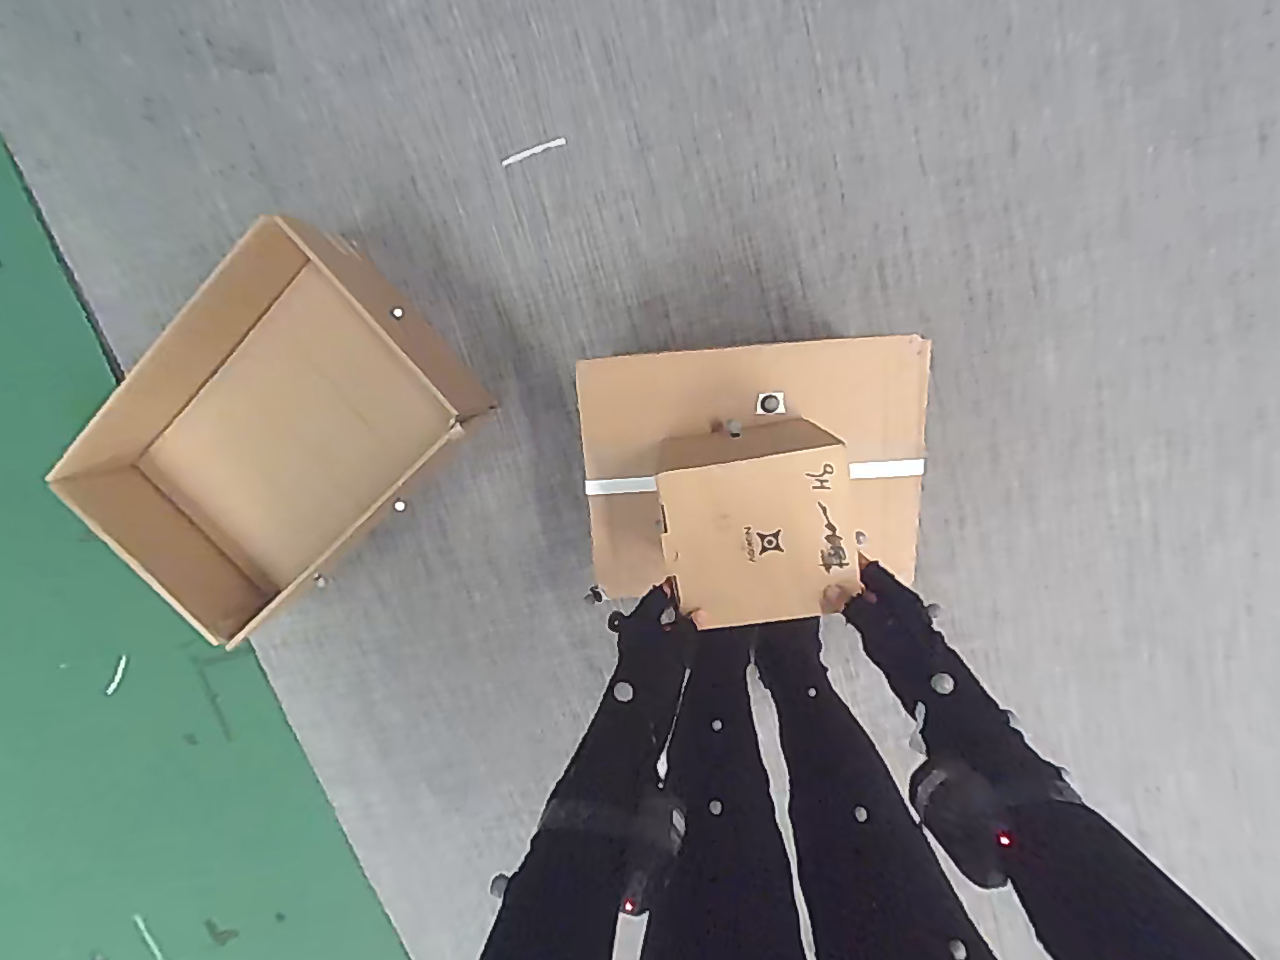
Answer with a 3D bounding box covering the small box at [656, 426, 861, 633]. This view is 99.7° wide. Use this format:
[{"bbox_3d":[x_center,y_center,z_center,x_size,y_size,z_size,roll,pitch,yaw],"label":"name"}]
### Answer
[{"bbox_3d":[0.120,0.044,0.584,0.179,0.176,0.168,-9,103,7],"label":"small box"}]
